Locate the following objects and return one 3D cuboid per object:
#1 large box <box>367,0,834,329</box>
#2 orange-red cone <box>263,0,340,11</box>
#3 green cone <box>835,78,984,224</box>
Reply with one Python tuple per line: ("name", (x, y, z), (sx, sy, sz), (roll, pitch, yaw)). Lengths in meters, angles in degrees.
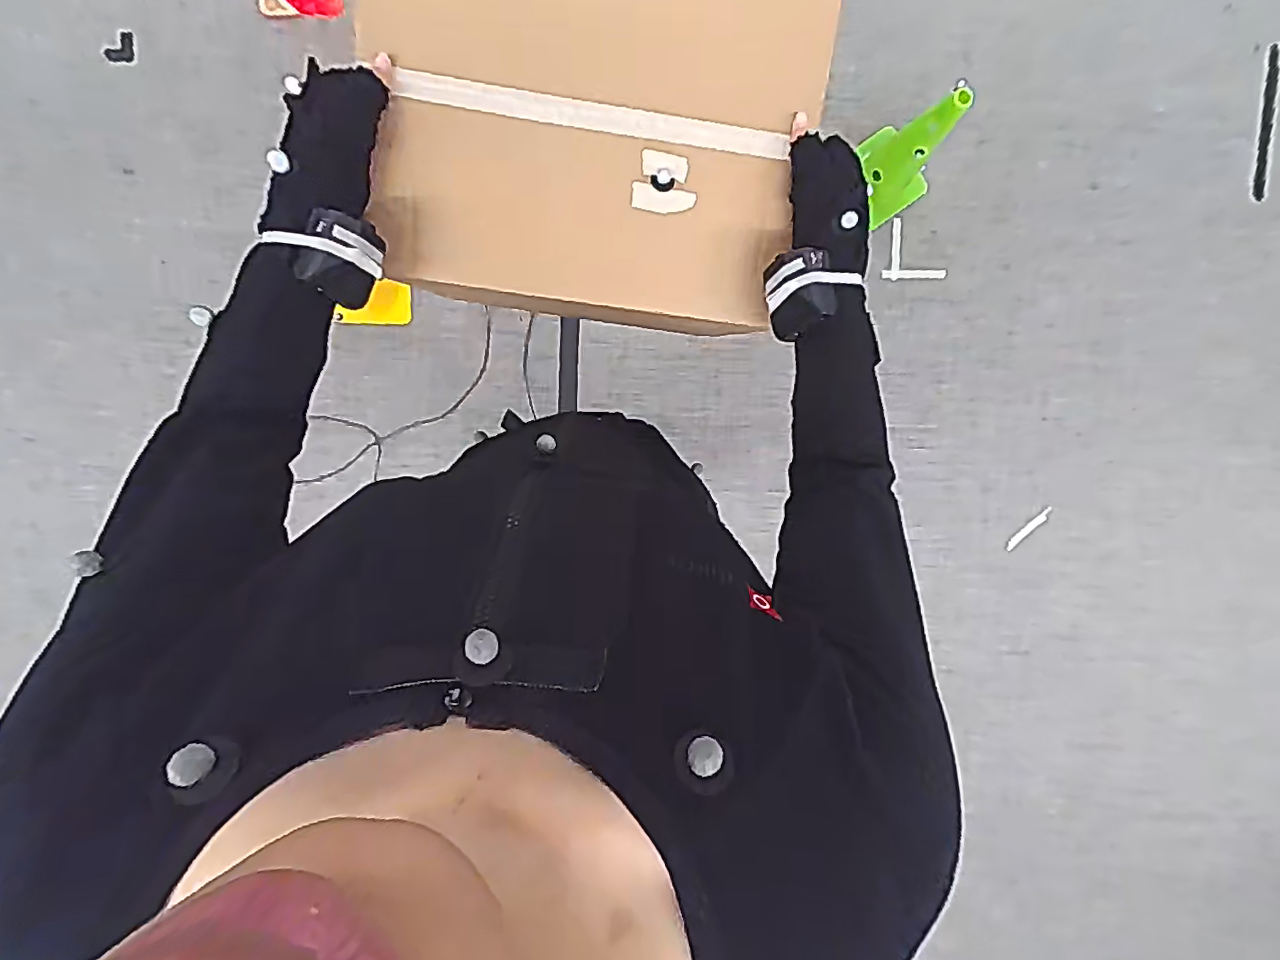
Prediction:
("large box", (-0.051, -0.360, 0.627), (0.408, 0.320, 0.320), (6, 104, -6))
("orange-red cone", (-0.825, -1.229, 1.147), (0.198, 0.360, 0.199), (-1, 97, -1))
("green cone", (0.643, -0.781, 1.239), (0.202, 0.368, 0.200), (-36, 97, 0))
